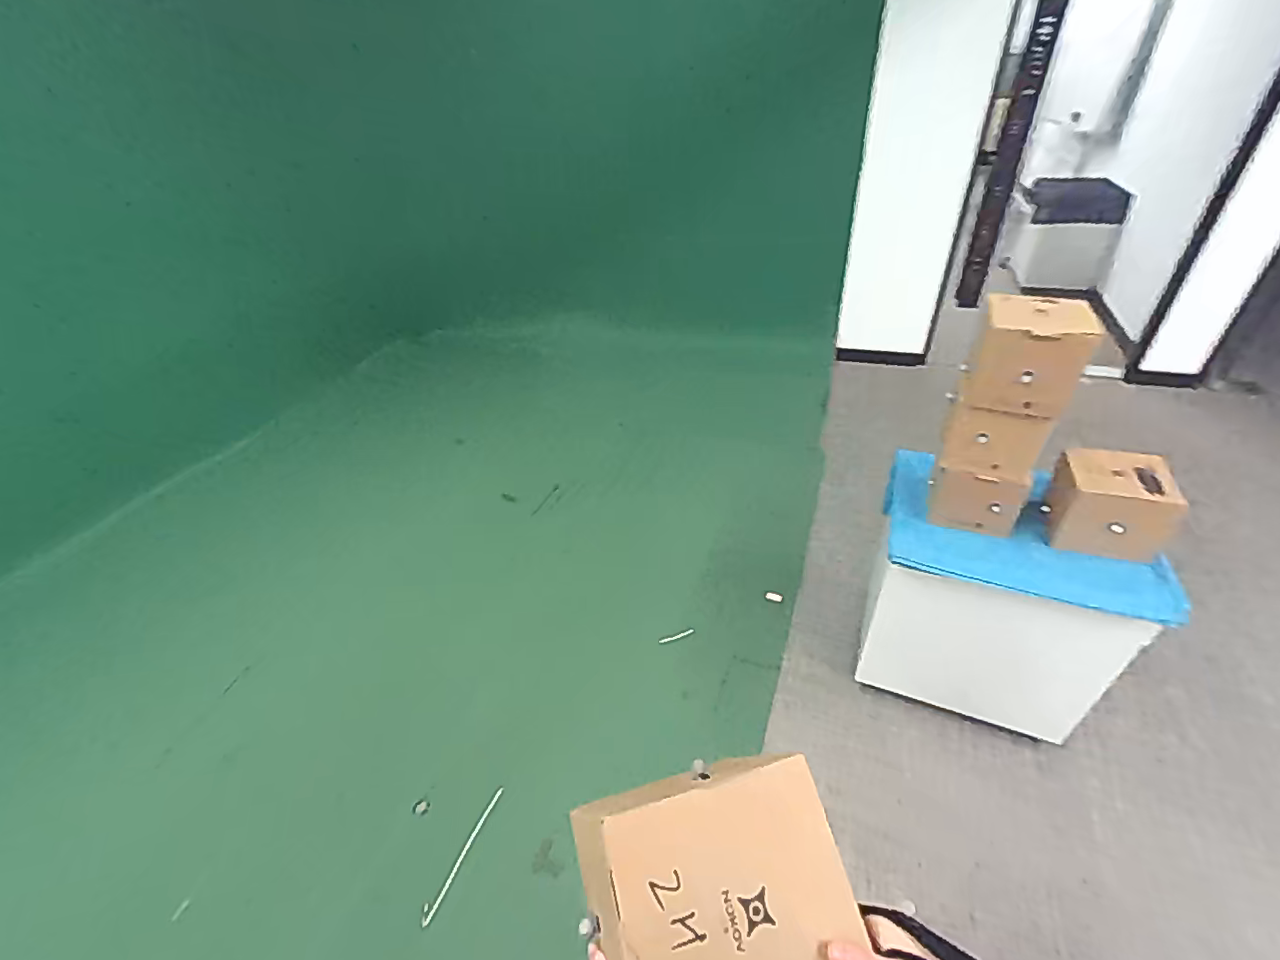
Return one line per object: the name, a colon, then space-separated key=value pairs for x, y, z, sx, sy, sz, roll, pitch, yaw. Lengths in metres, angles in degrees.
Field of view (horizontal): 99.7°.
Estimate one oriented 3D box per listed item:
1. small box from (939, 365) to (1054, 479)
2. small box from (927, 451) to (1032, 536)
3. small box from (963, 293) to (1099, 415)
small box: x=0.753 y=-0.124 z=1.156 sx=0.168 sy=0.176 sz=0.179 roll=13 pitch=41 yaw=22
small box: x=0.777 y=0.005 z=1.252 sx=0.168 sy=0.176 sz=0.179 roll=13 pitch=42 yaw=20
small box: x=0.741 y=-0.244 z=1.044 sx=0.168 sy=0.176 sz=0.179 roll=13 pitch=42 yaw=22
